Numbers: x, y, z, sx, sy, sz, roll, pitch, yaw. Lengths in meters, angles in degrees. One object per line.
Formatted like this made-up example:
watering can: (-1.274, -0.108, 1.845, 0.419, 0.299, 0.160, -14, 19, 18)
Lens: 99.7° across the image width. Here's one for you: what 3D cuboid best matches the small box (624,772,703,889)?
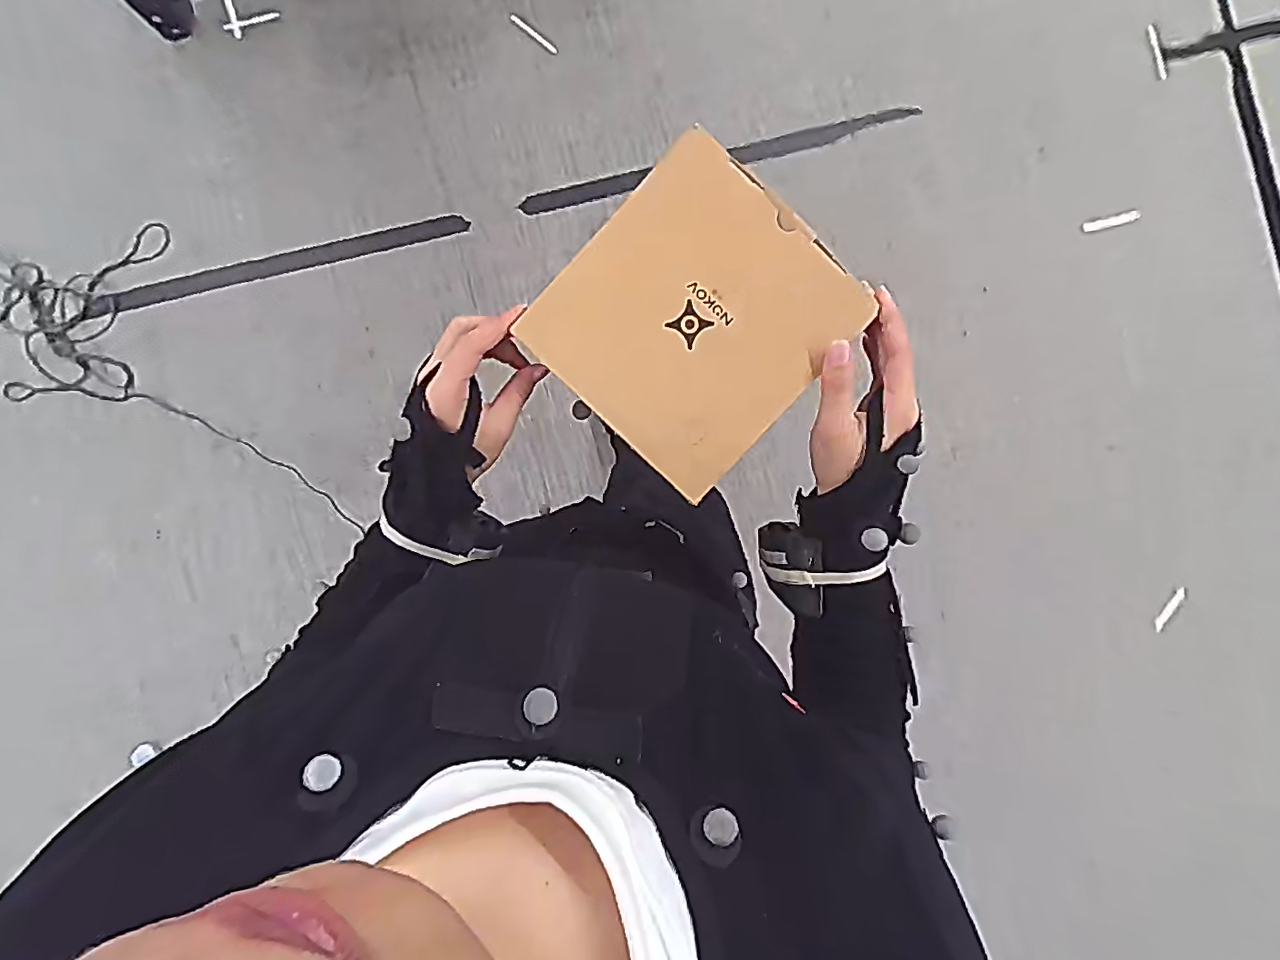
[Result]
small box: (0.050, 0.829, 1.302, 0.168, 0.176, 0.179, -7, 91, -1)
